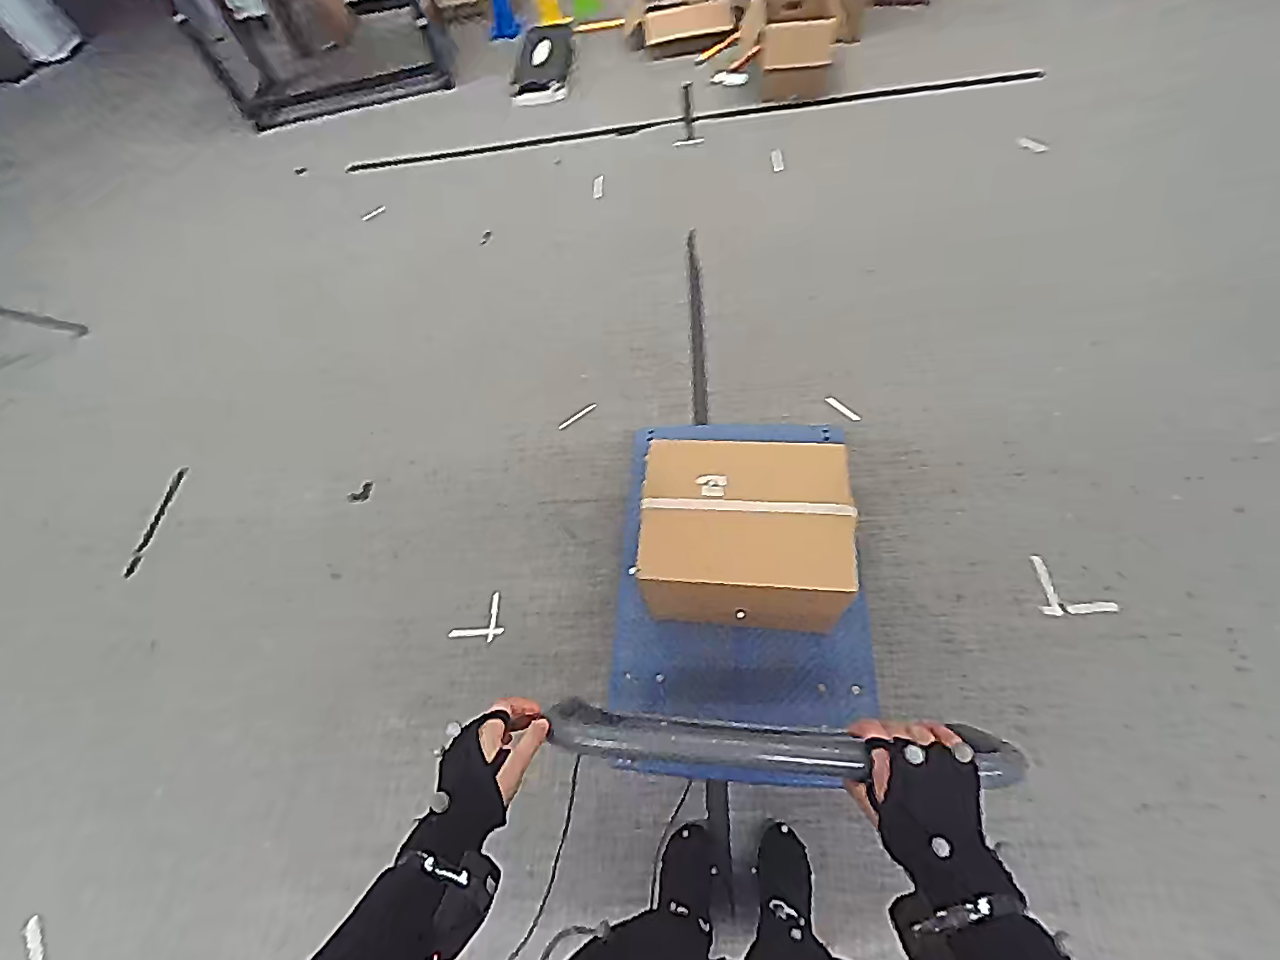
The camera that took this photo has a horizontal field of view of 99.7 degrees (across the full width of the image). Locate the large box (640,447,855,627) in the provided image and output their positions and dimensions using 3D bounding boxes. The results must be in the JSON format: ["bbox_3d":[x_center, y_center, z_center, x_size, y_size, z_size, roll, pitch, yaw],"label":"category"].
[{"bbox_3d":[0.231,0.134,1.208,0.408,0.320,0.320,1,61,10],"label":"large box"}]
